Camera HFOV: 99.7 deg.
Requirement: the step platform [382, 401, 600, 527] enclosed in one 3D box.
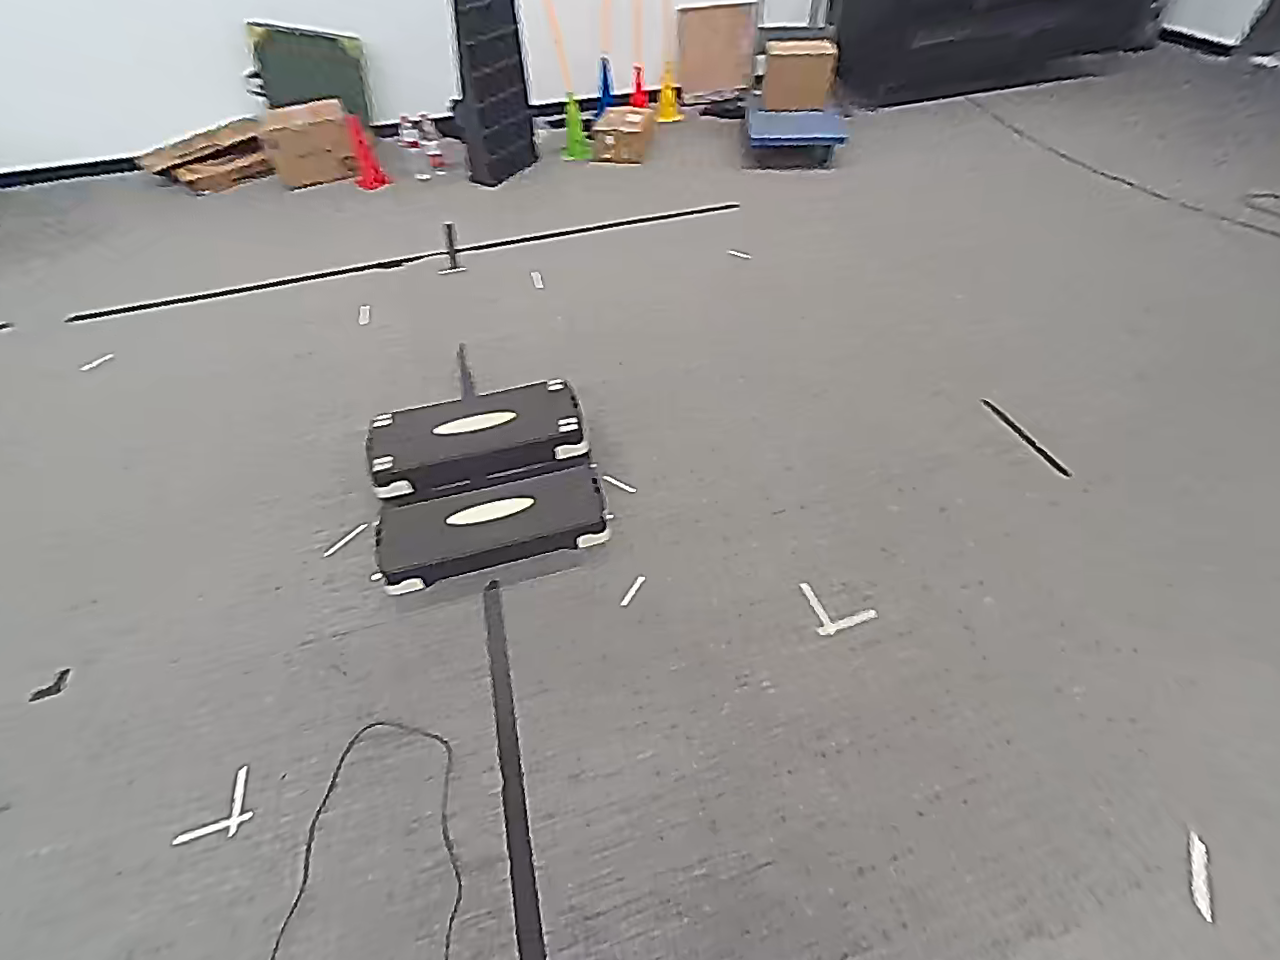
[{"bbox_3d":[-0.481,-0.064,1.795,0.684,0.204,0.286,-10,49,-7],"label":"step platform"}]
